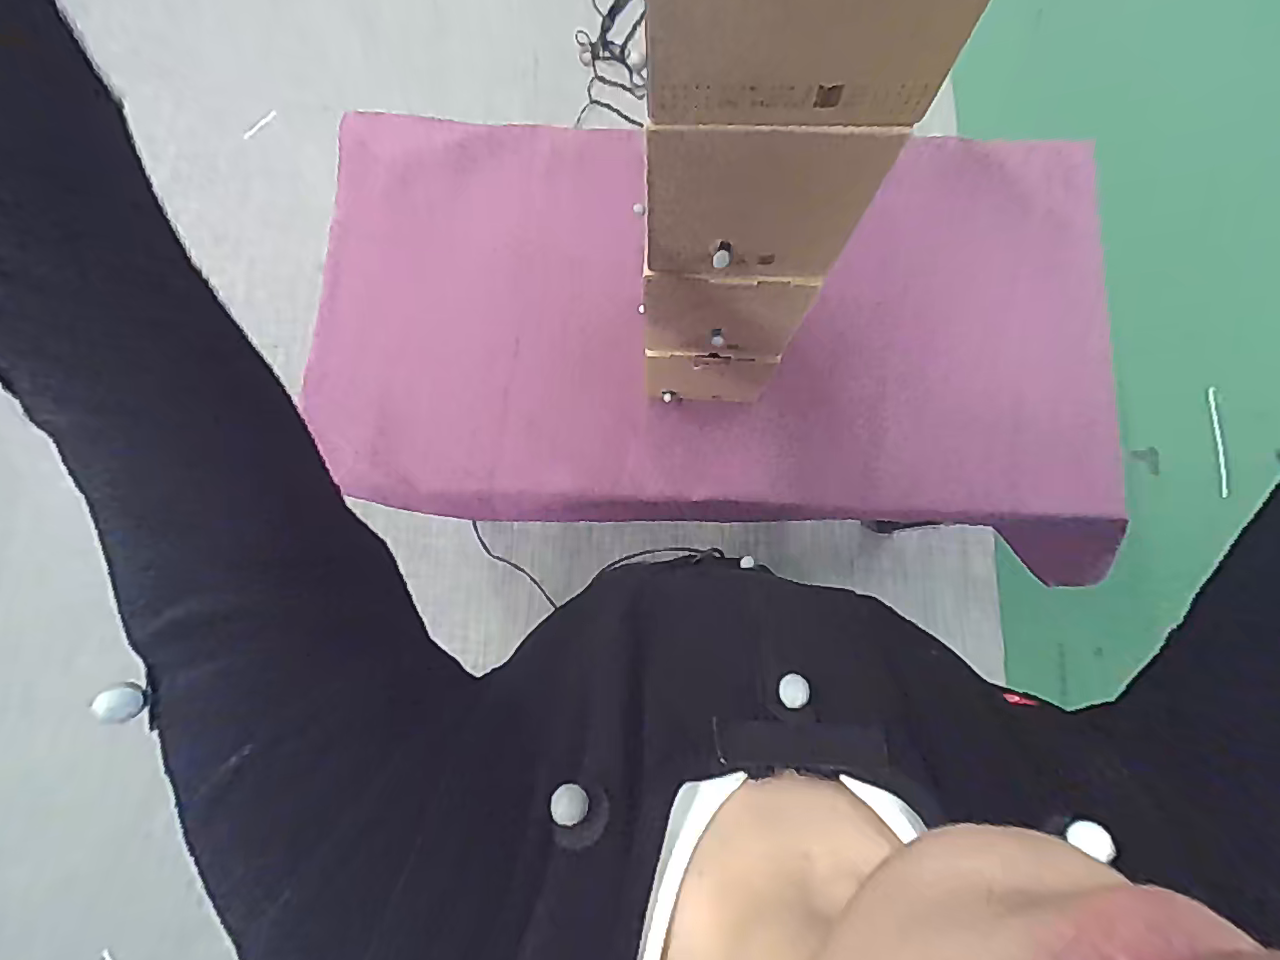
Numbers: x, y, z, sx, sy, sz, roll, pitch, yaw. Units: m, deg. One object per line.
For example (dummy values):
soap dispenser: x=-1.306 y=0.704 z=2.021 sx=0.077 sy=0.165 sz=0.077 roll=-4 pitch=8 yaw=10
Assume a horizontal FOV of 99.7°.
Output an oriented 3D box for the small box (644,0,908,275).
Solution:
small box: x=0.090 y=-0.290 z=0.428 sx=0.168 sy=0.176 sz=0.179 roll=3 pitch=81 yaw=2

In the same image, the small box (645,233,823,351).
small box: x=0.093 y=-0.259 z=0.587 sx=0.168 sy=0.176 sz=0.179 roll=3 pitch=81 yaw=2

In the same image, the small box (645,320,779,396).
small box: x=0.097 y=-0.224 z=0.748 sx=0.168 sy=0.176 sz=0.179 roll=4 pitch=80 yaw=2
